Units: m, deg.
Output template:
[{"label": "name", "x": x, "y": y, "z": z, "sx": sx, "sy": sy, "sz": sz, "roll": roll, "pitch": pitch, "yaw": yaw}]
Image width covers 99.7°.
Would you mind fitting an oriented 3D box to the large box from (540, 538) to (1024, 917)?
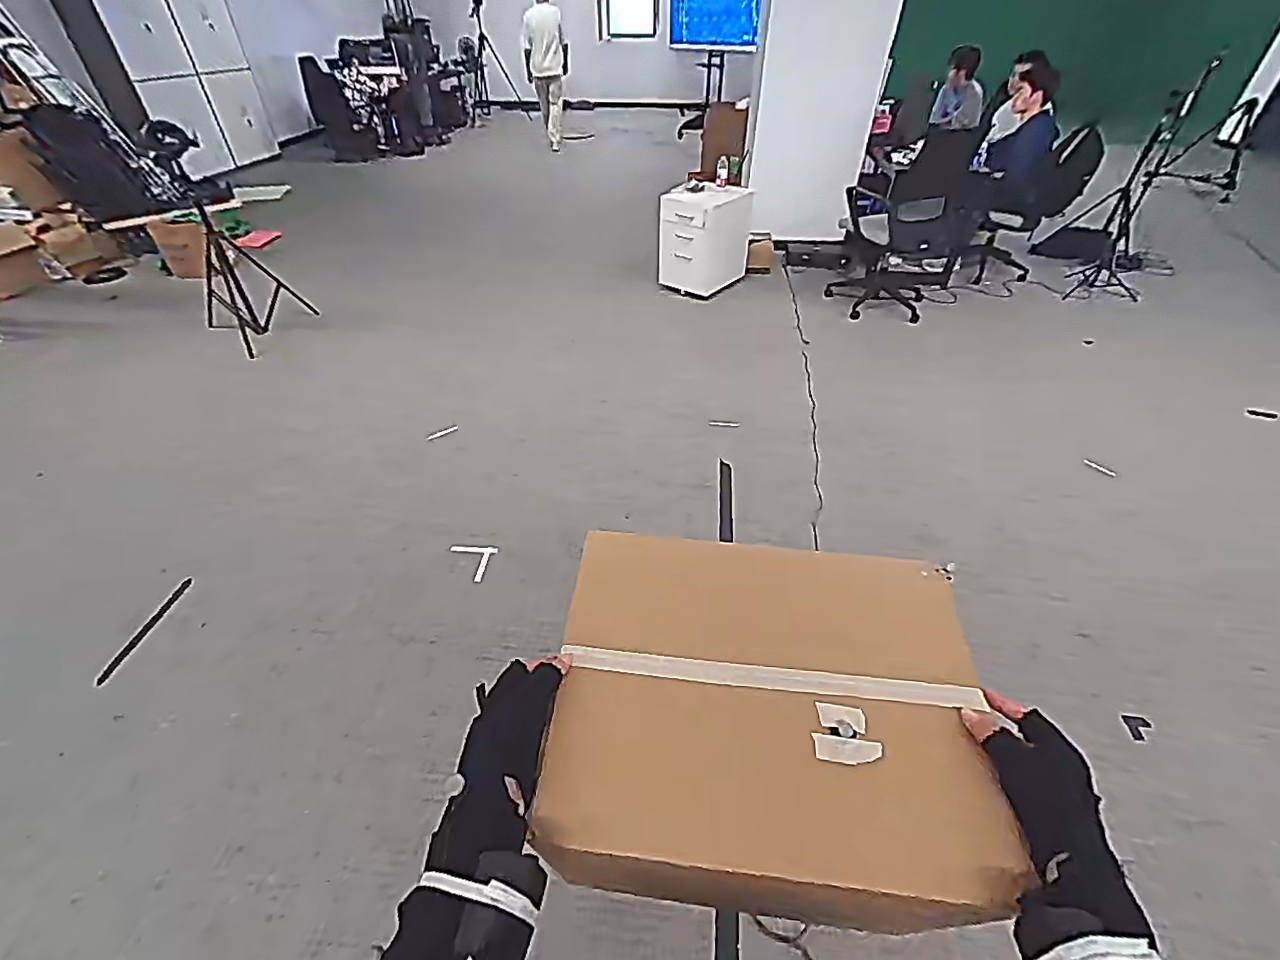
[{"label": "large box", "x": 0.125, "y": 0.296, "z": 0.650, "sx": 0.408, "sy": 0.320, "sz": 0.320, "roll": 5, "pitch": 49, "yaw": 5}]
